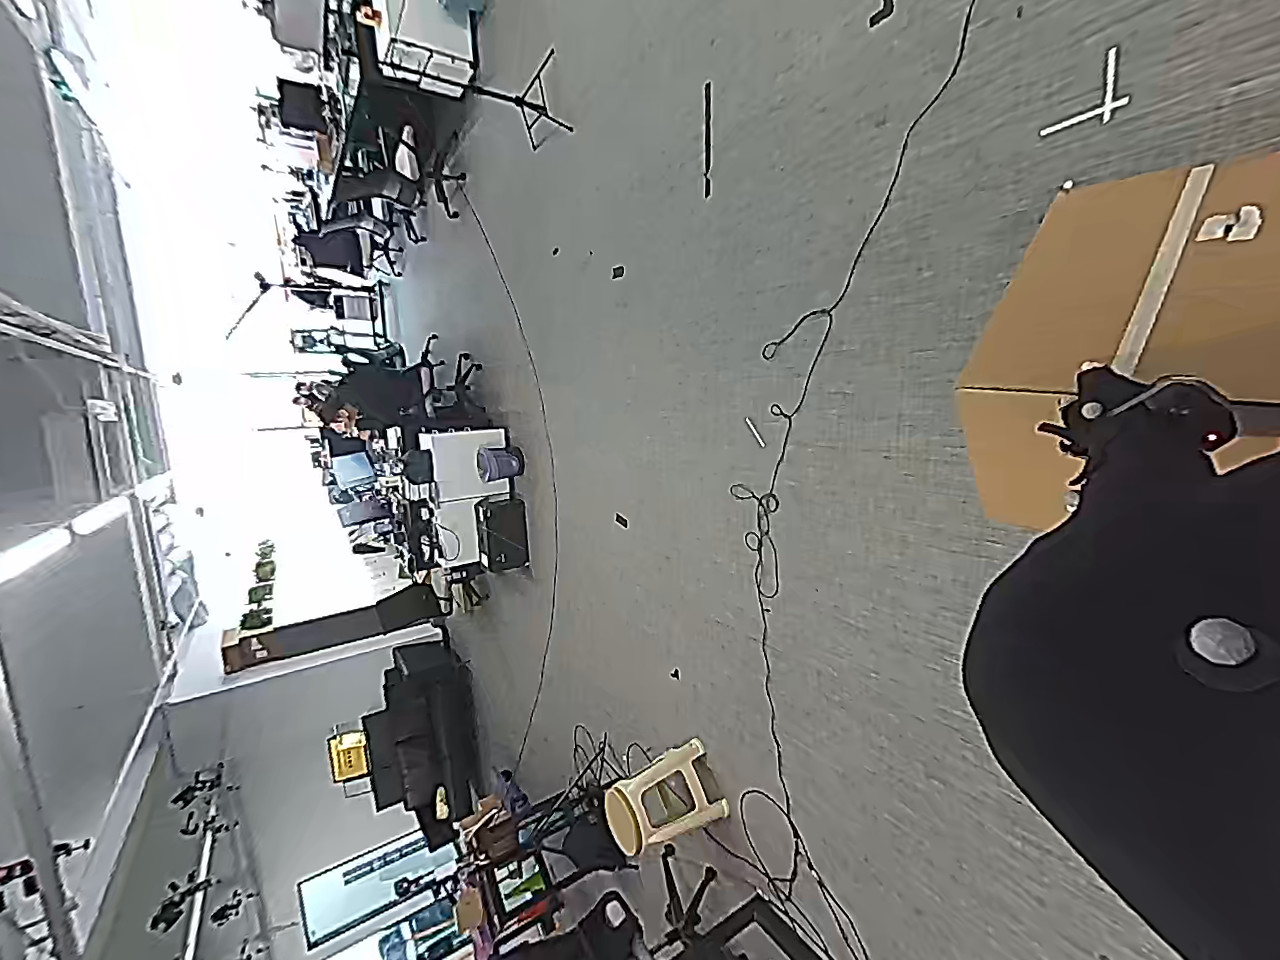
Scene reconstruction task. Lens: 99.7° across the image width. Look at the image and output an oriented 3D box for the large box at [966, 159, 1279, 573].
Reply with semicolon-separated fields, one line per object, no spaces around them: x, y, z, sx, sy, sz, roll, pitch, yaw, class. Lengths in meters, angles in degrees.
0.698;-0.150;0.728;0.320;0.408;0.320;17;154;47;large box
